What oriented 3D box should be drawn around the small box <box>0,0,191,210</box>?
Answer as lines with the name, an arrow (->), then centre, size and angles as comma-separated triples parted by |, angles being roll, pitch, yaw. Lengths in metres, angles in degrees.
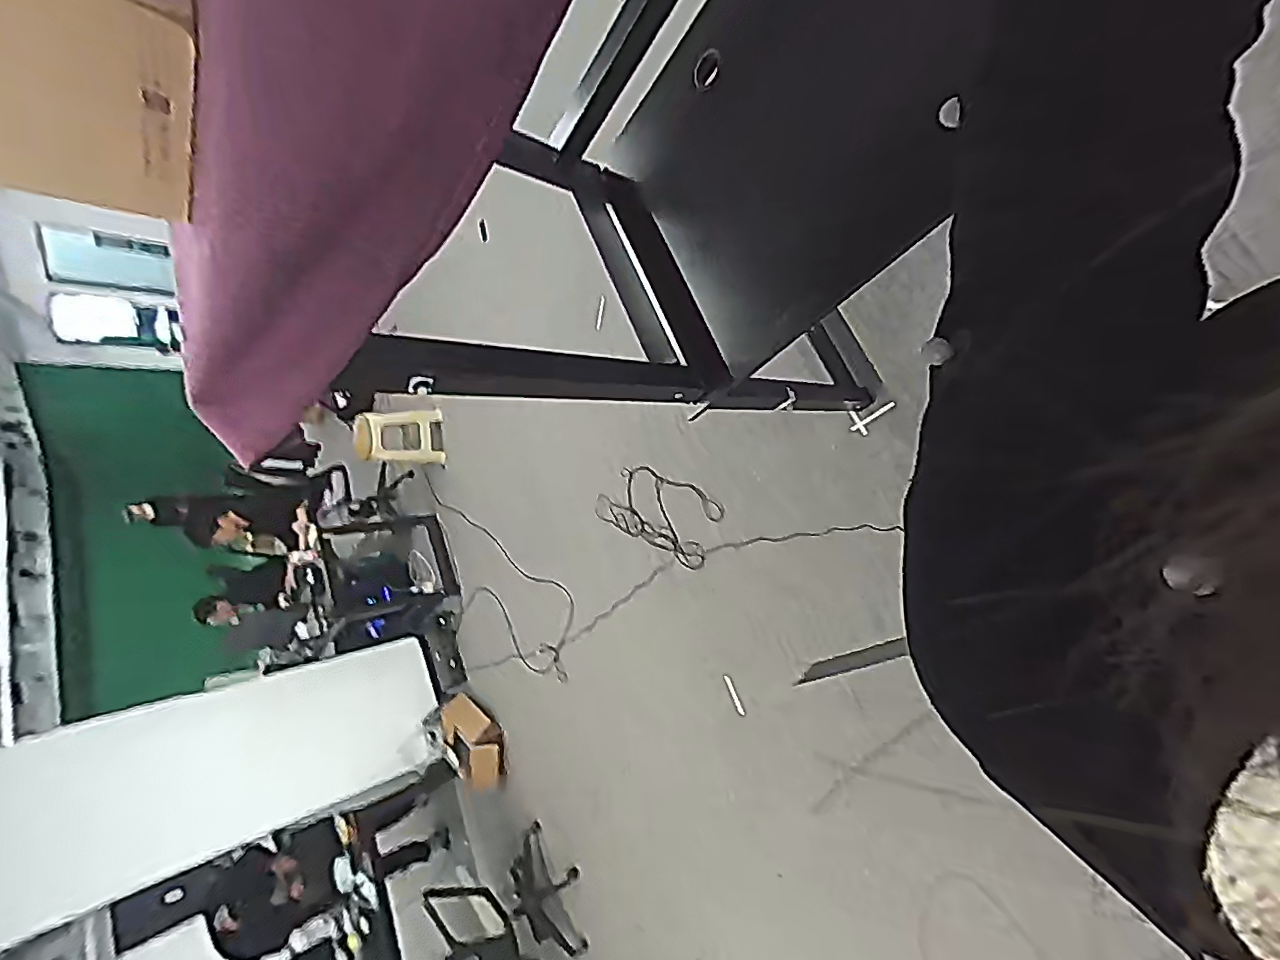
small box -> -0.428, -0.322, 0.369 | 0.168, 0.176, 0.179 | -40, 65, 41
